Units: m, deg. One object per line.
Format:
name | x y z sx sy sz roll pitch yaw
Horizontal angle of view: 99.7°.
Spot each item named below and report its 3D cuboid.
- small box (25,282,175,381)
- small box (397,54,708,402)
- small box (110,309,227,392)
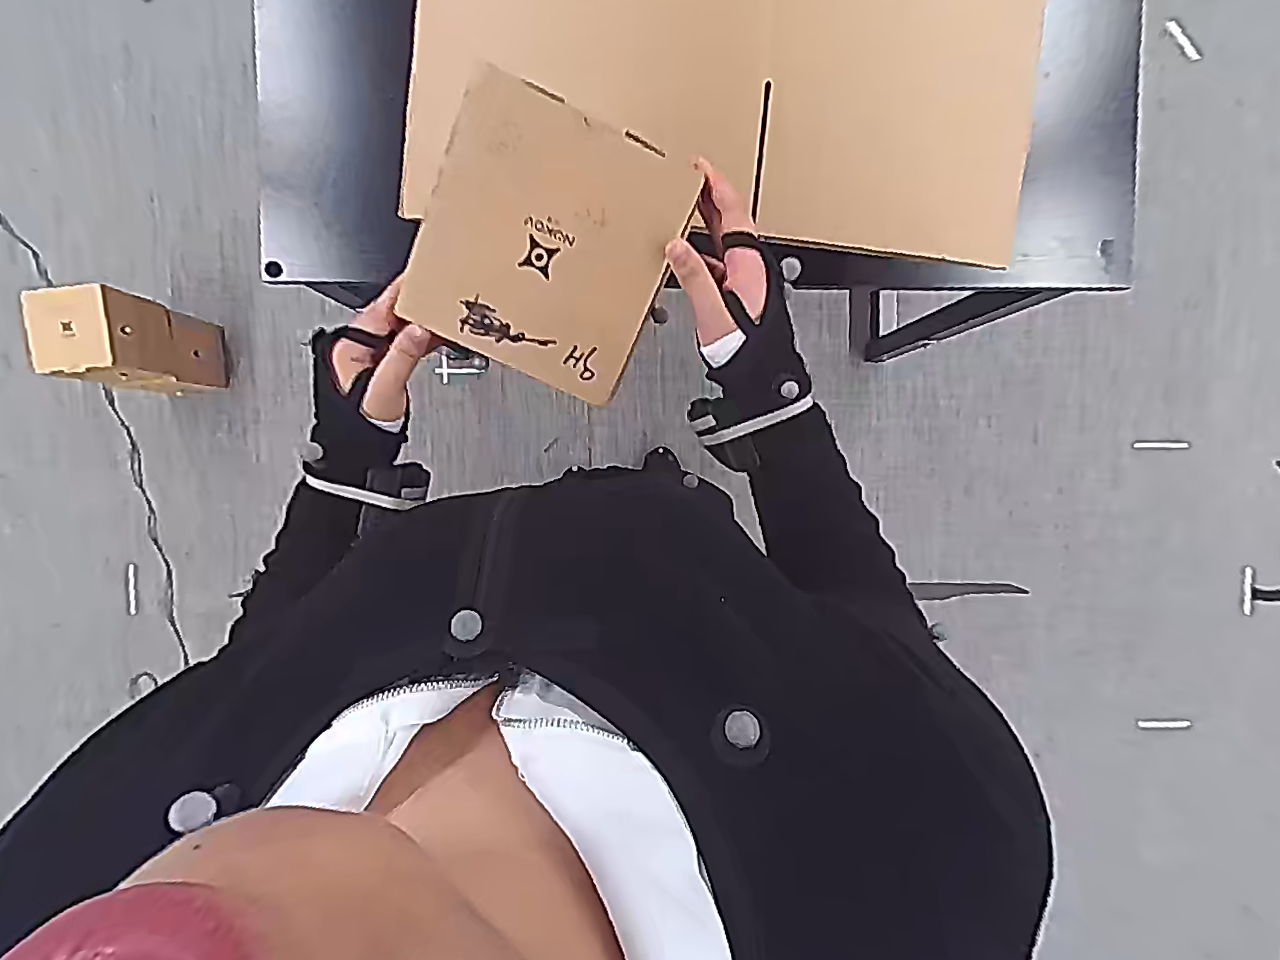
small box | -1.196 -0.323 1.213 0.168 0.176 0.179 -7 91 -2
small box | -0.064 -0.183 0.449 0.168 0.176 0.179 25 102 -5
small box | -1.197 -0.324 1.375 0.168 0.176 0.179 -3 93 -1
